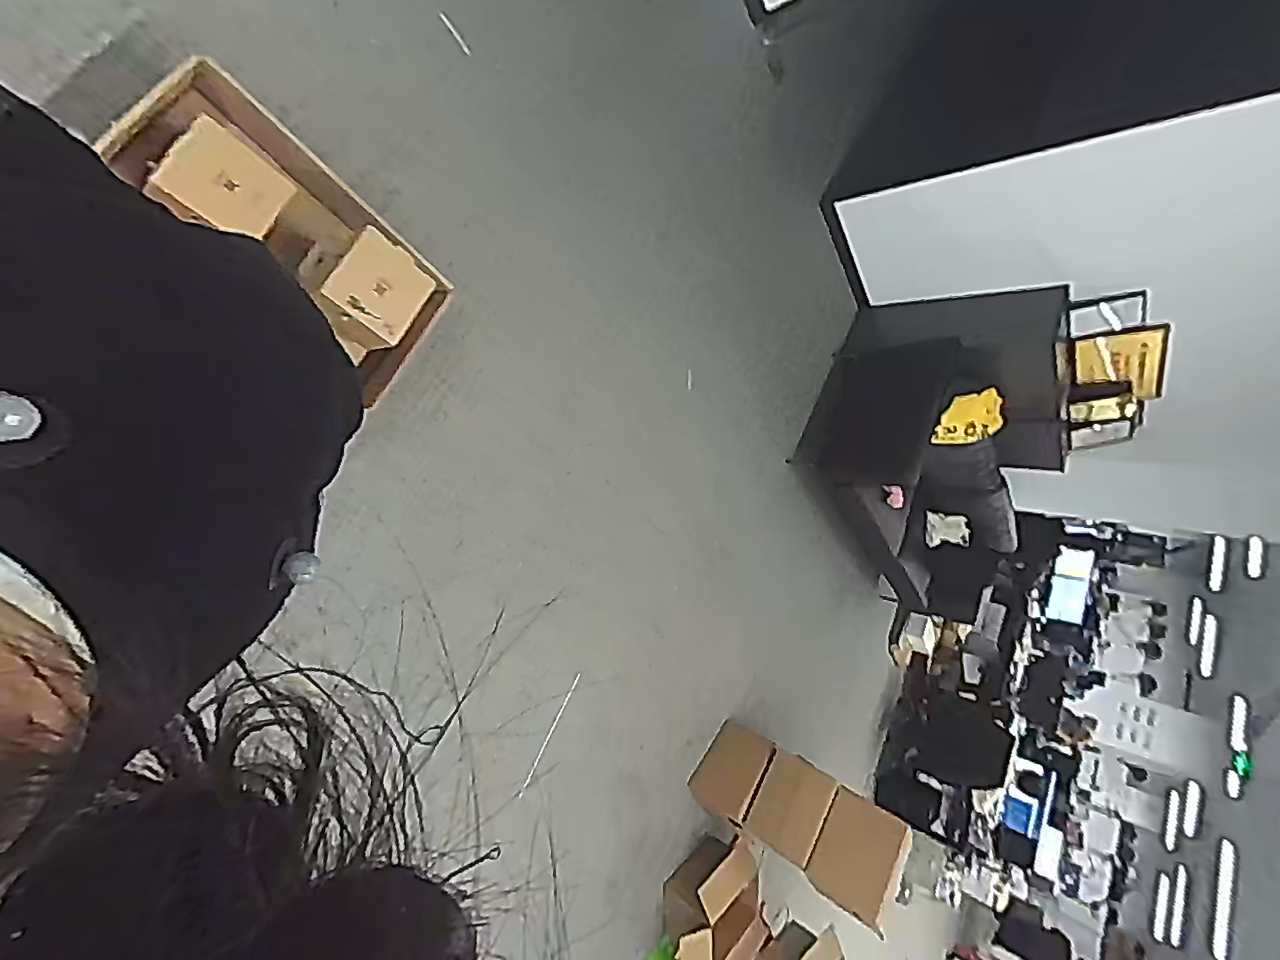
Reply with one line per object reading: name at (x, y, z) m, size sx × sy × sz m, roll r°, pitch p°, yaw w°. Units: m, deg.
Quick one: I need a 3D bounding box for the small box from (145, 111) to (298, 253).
small box at (-0.842, -0.582, 1.084) m, size 0.179 × 0.176 × 0.168 m, roll 39°, pitch 70°, yaw -44°

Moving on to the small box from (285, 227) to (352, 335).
small box at (-0.691, -0.452, 1.268) m, size 0.179 × 0.176 × 0.168 m, roll 36°, pitch 72°, yaw -43°

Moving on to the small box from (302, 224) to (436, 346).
small box at (-0.580, -0.407, 1.153) m, size 0.168 × 0.176 × 0.179 m, roll 41°, pitch 68°, yaw -41°
